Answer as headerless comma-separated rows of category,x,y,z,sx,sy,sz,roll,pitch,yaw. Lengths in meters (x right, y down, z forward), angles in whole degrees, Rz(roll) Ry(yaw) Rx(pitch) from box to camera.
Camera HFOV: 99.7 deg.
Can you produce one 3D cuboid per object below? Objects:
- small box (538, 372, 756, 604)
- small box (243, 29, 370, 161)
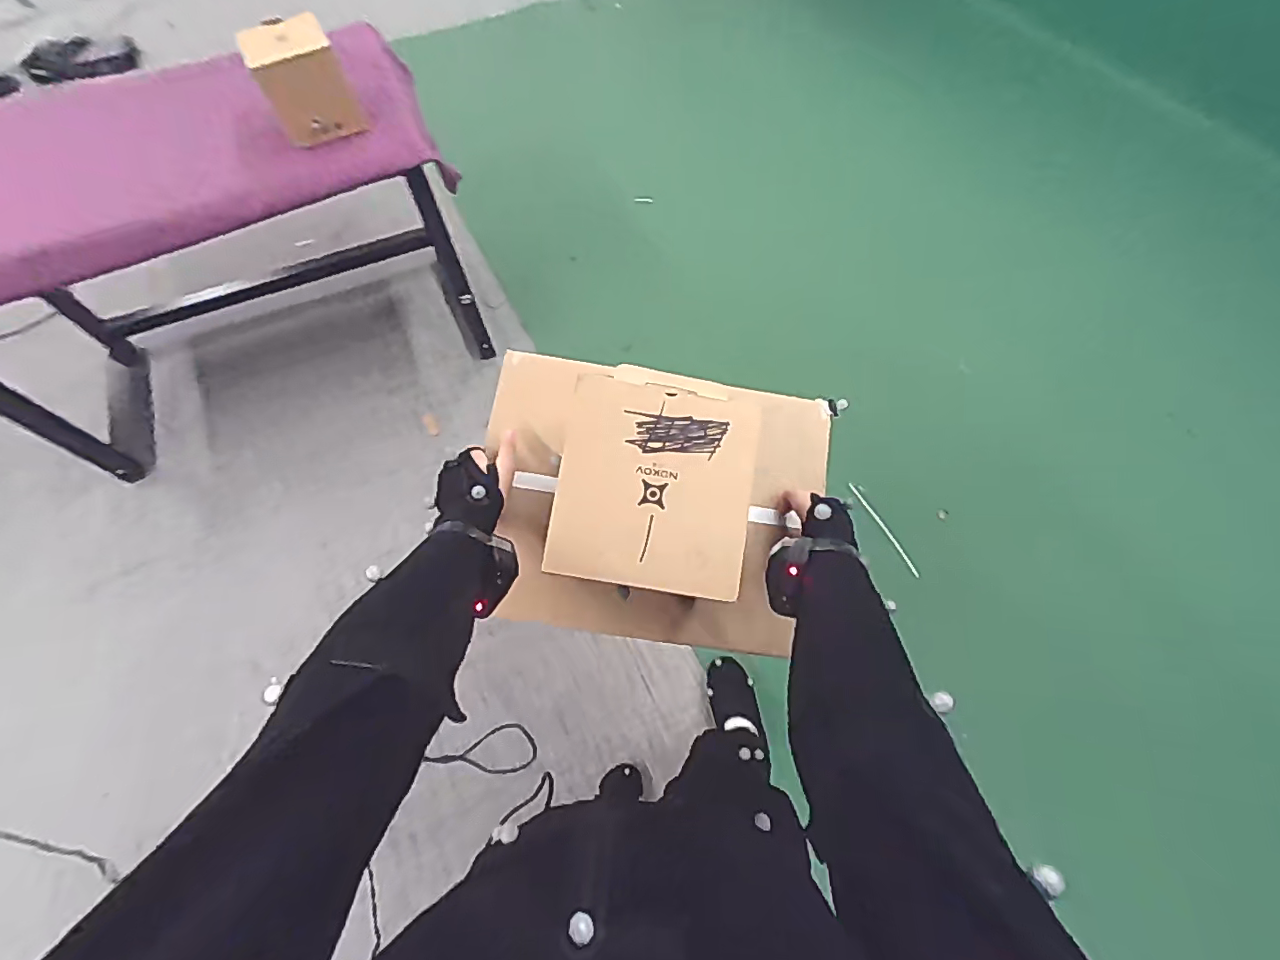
small box,0.002,0.018,0.530,0.168,0.176,0.179,9,79,-3
small box,-0.731,-0.846,1.195,0.168,0.176,0.179,-26,63,-11
